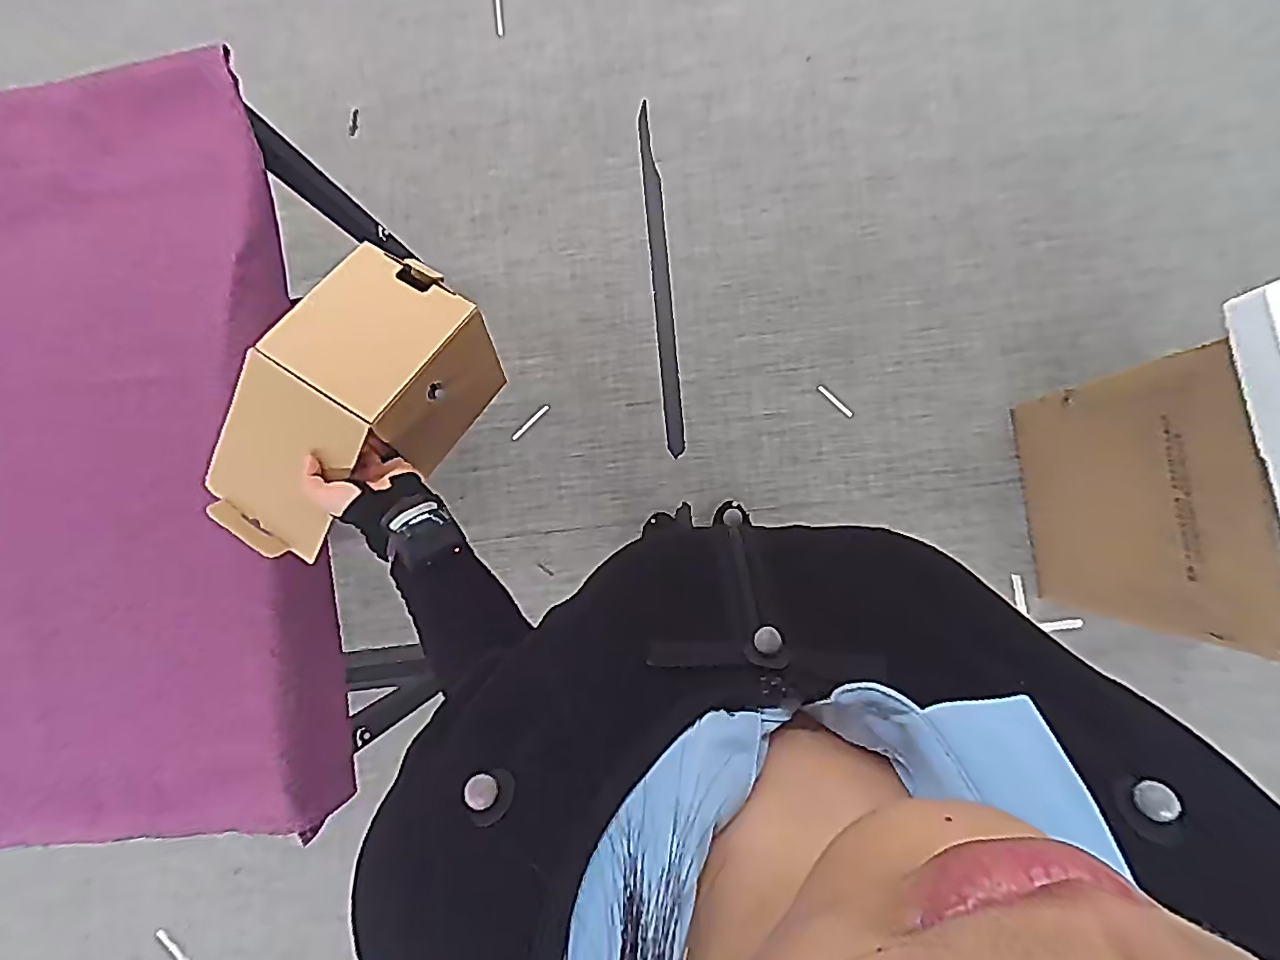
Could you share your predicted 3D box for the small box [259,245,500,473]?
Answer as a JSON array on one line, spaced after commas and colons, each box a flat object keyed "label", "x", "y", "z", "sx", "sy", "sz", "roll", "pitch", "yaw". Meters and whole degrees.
[{"label": "small box", "x": -0.294, "y": -0.136, "z": 0.659, "sx": 0.168, "sy": 0.176, "sz": 0.179, "roll": 32, "pitch": 71, "yaw": 9}]
